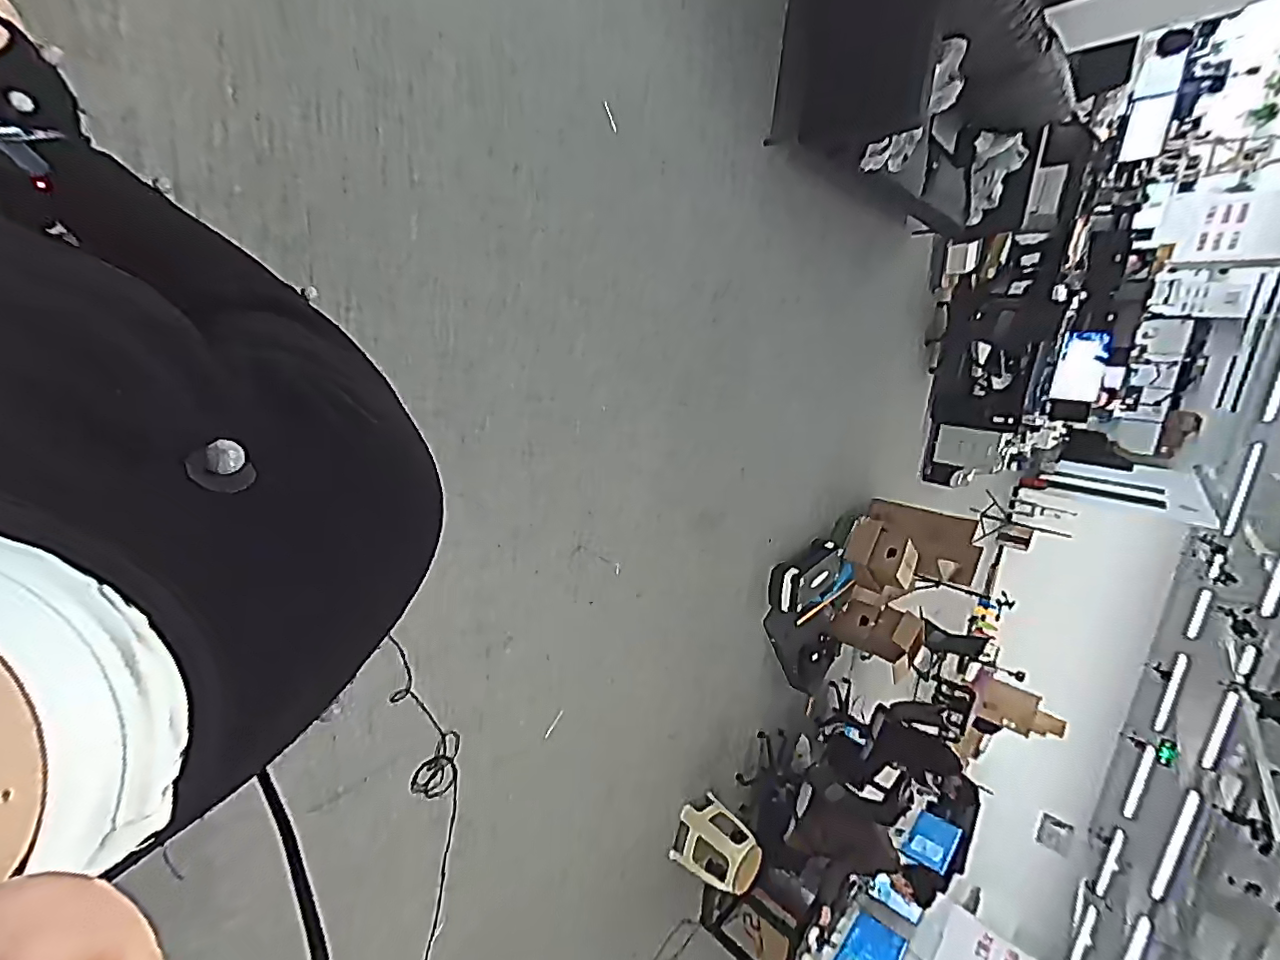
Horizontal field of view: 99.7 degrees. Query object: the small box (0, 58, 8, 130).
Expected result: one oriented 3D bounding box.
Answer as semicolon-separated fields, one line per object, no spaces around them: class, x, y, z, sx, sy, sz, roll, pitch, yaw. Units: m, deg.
small box;-0.643;-0.398;0.423;0.179;0.176;0.168;-12;104;-44
